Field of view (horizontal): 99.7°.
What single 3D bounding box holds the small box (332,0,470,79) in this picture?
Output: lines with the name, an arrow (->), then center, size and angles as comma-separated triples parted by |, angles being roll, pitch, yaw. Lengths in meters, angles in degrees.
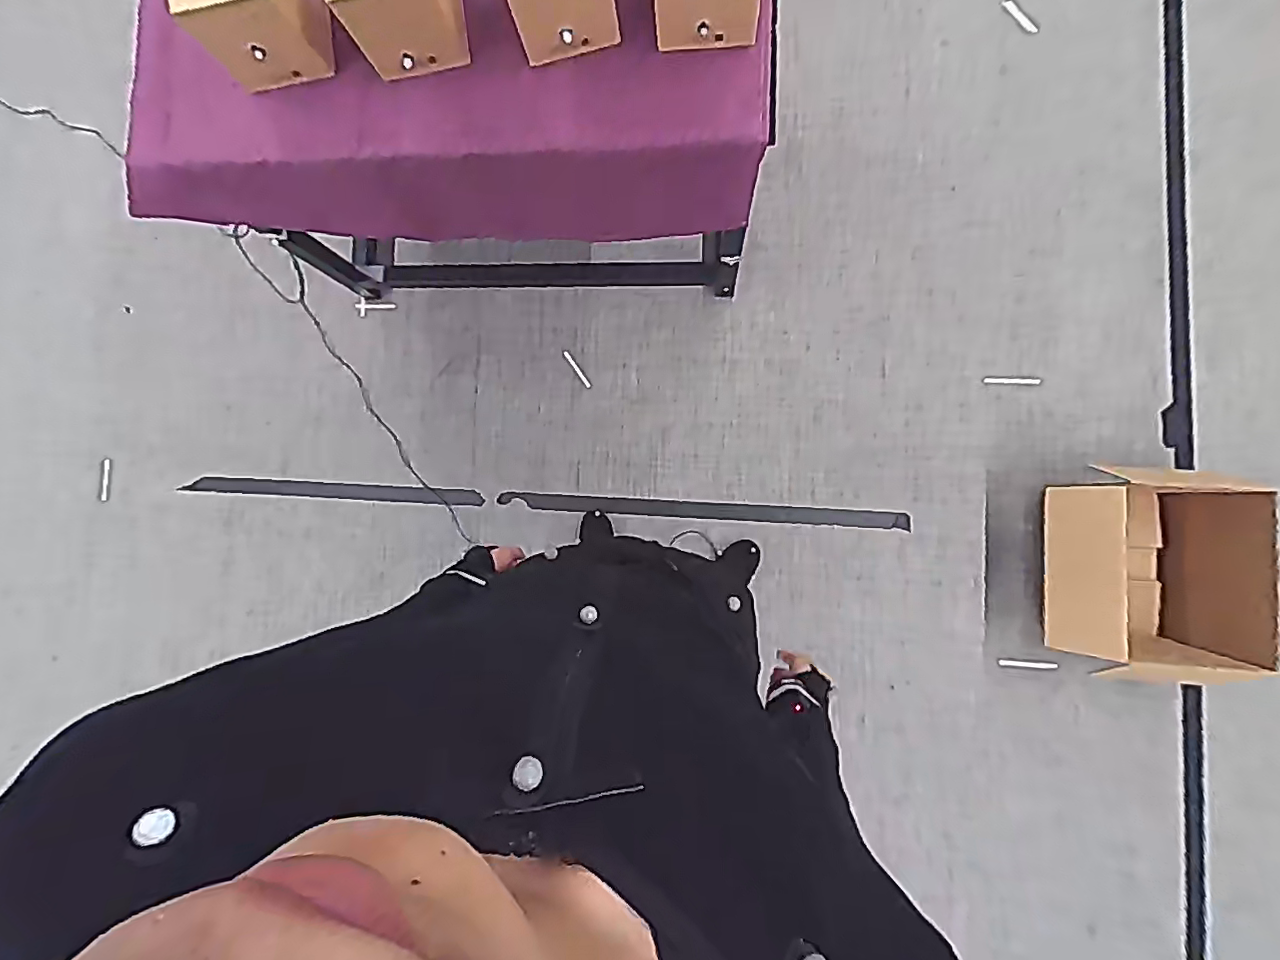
small box -> -0.400, -0.822, 0.896 | 0.168, 0.176, 0.179 | -8, 87, 6

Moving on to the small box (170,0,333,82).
small box -> -0.652, -0.819, 0.918 | 0.168, 0.176, 0.179 | -7, 87, 4

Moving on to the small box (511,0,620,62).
small box -> -0.134, -0.835, 0.870 | 0.168, 0.176, 0.179 | -11, 87, 5
